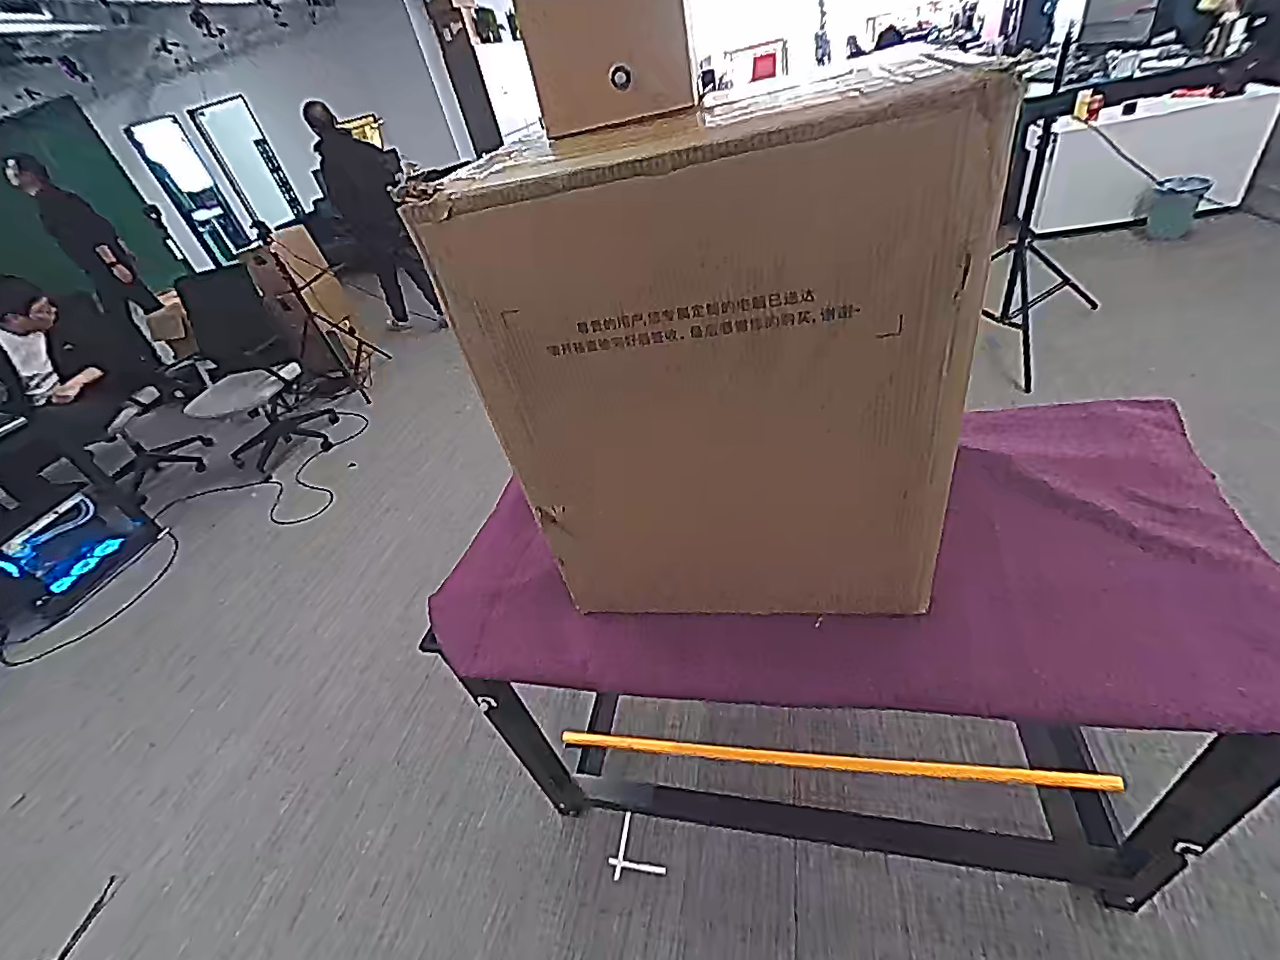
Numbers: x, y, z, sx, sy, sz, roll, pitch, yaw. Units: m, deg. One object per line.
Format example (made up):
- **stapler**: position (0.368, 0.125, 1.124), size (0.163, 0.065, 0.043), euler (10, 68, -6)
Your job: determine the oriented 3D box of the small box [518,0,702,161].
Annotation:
- **small box**: position (-0.027, -0.501, 0.636), size (0.179, 0.176, 0.168), euler (-4, 38, 13)
